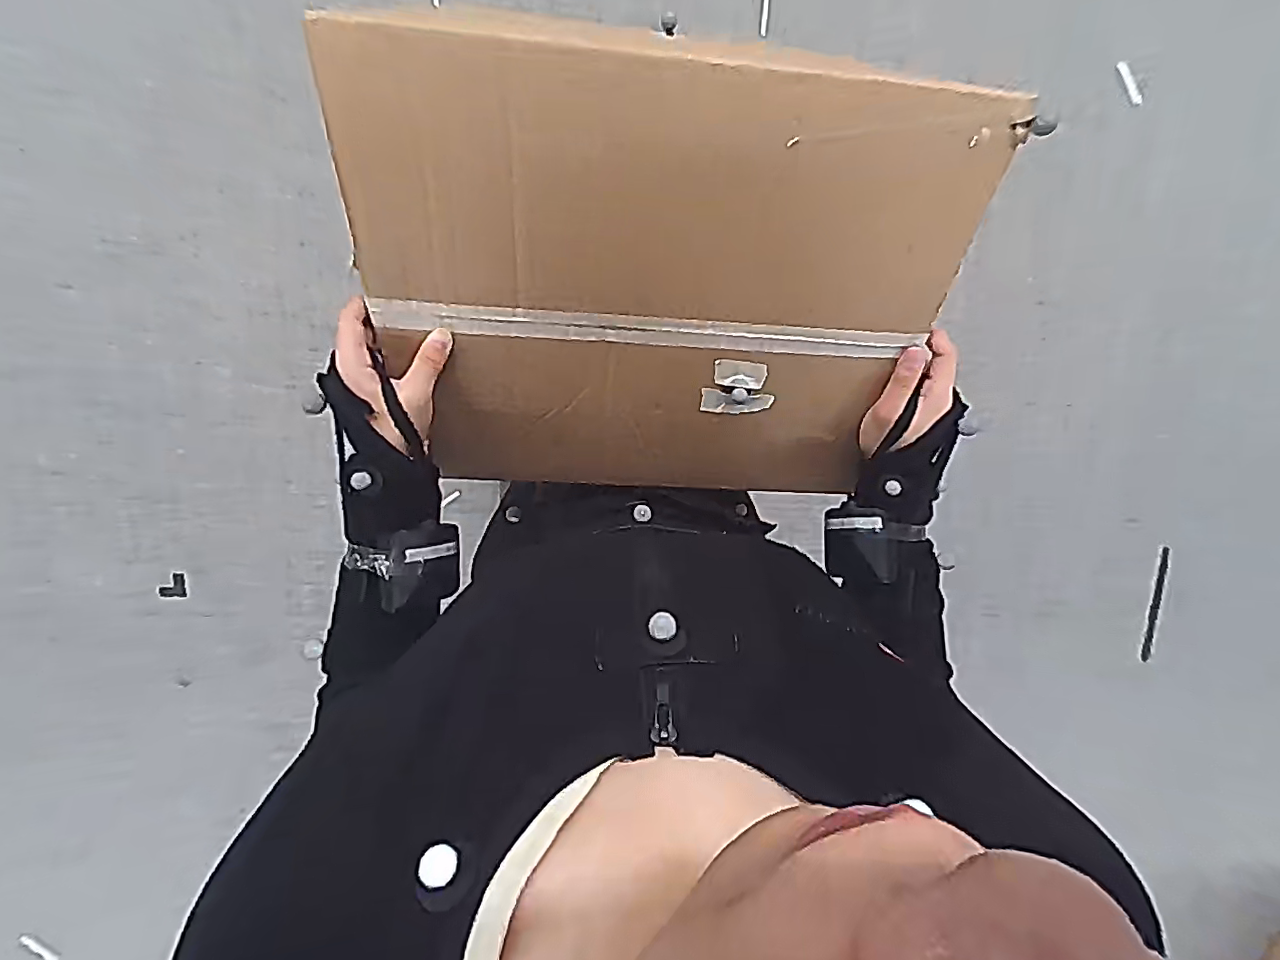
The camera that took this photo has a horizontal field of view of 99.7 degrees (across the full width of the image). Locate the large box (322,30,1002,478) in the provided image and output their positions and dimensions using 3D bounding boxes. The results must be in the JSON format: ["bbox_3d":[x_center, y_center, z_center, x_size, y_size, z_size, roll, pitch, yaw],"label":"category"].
[{"bbox_3d":[0.002,-0.215,0.516,0.408,0.320,0.320,1,133,-6],"label":"large box"}]
